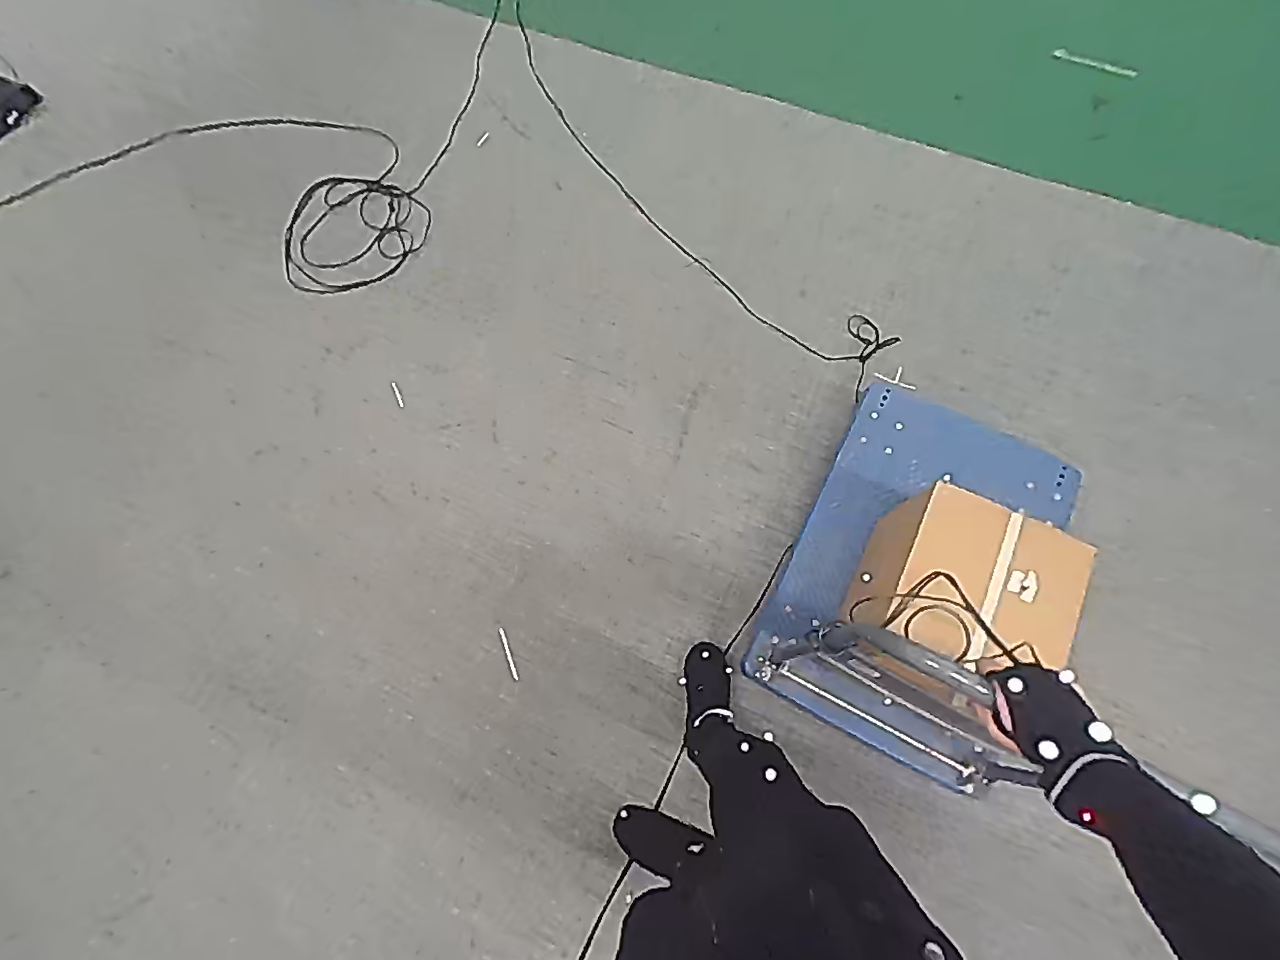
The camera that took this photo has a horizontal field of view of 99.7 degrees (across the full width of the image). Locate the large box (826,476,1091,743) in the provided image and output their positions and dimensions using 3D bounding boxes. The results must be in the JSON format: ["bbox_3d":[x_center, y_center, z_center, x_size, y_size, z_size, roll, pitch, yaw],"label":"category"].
[{"bbox_3d":[0.640,0.272,1.137,0.320,0.320,0.408,26,73,9],"label":"large box"}]
